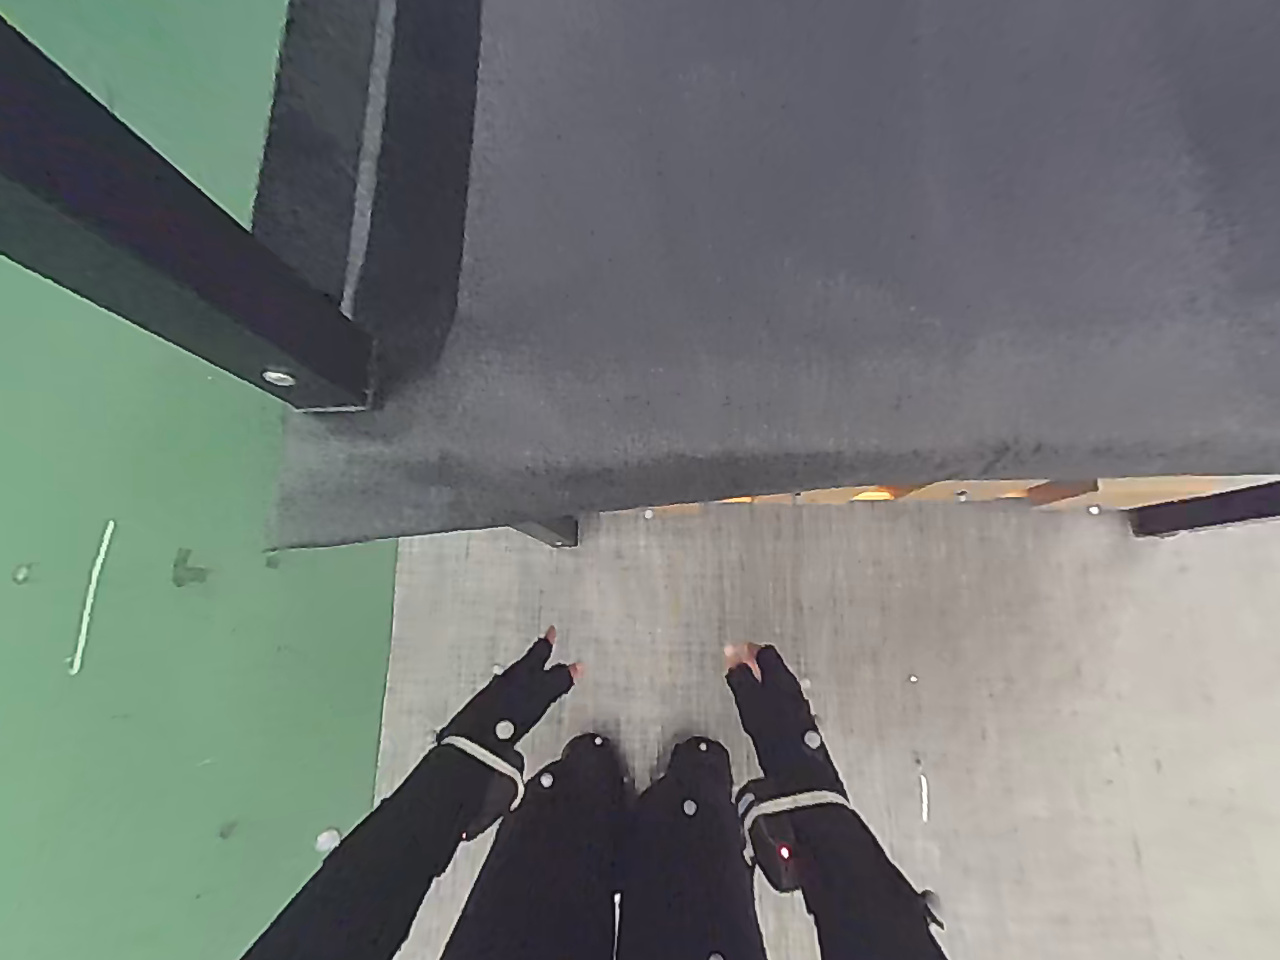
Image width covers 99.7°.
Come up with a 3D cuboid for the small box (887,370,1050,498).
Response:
[{"bbox_3d":[0.526,-0.066,0.893,0.168,0.176,0.179,-2,77,4],"label":"small box"}]

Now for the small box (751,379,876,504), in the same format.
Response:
[{"bbox_3d":[0.281,-0.057,0.909,0.168,0.176,0.179,0,77,3],"label":"small box"}]
